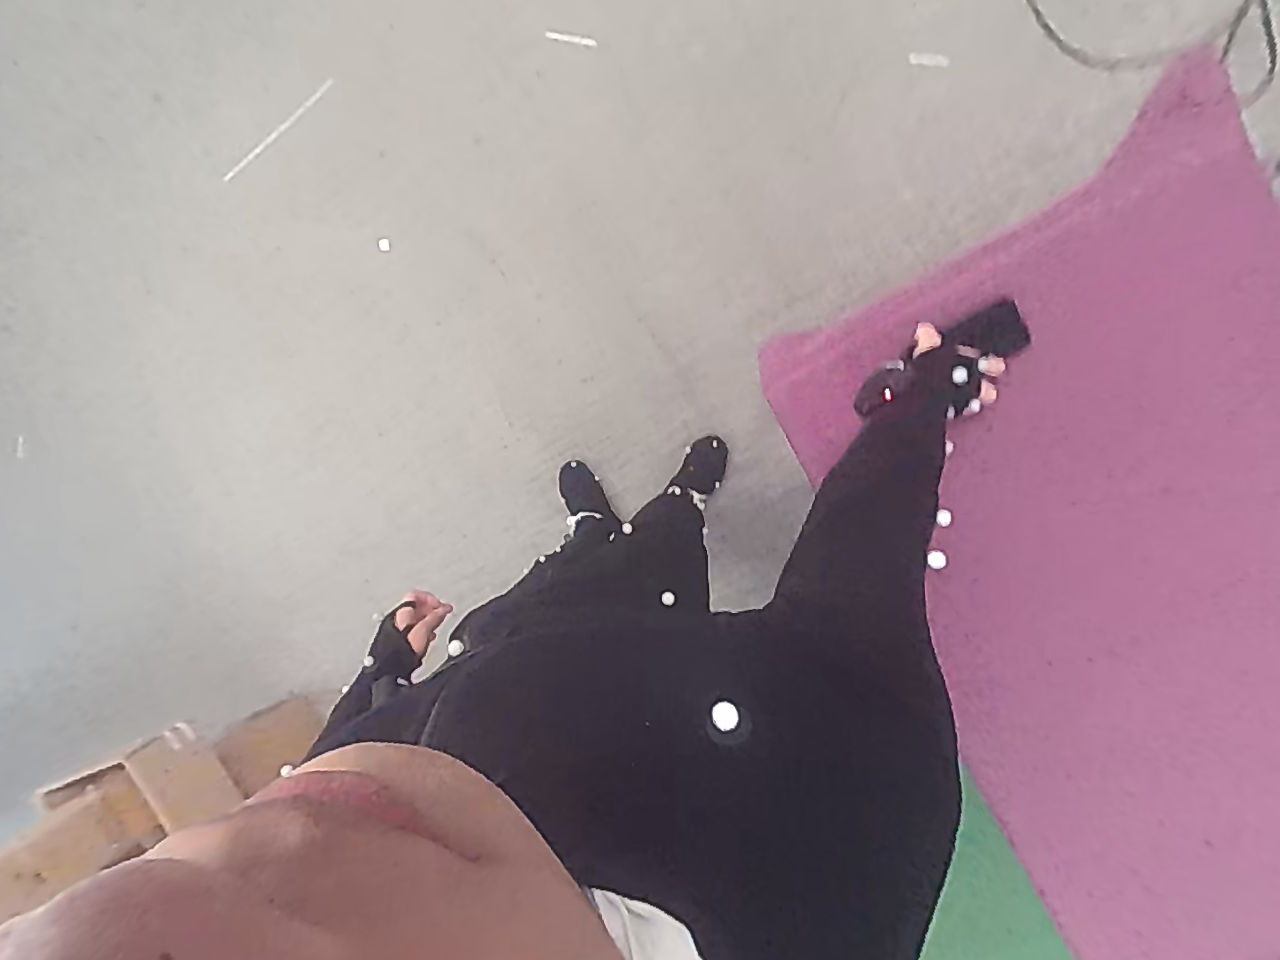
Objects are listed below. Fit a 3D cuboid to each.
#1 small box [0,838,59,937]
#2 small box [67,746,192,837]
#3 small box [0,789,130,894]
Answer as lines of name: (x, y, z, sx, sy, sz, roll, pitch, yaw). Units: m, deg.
small box: (-1.517, 0.969, 1.240, 0.179, 0.176, 0.168, -24, 96, 14)
small box: (-1.461, 0.905, 1.557, 0.179, 0.176, 0.168, -23, 96, 13)
small box: (-1.483, 0.936, 1.397, 0.179, 0.176, 0.168, -21, 96, 14)
